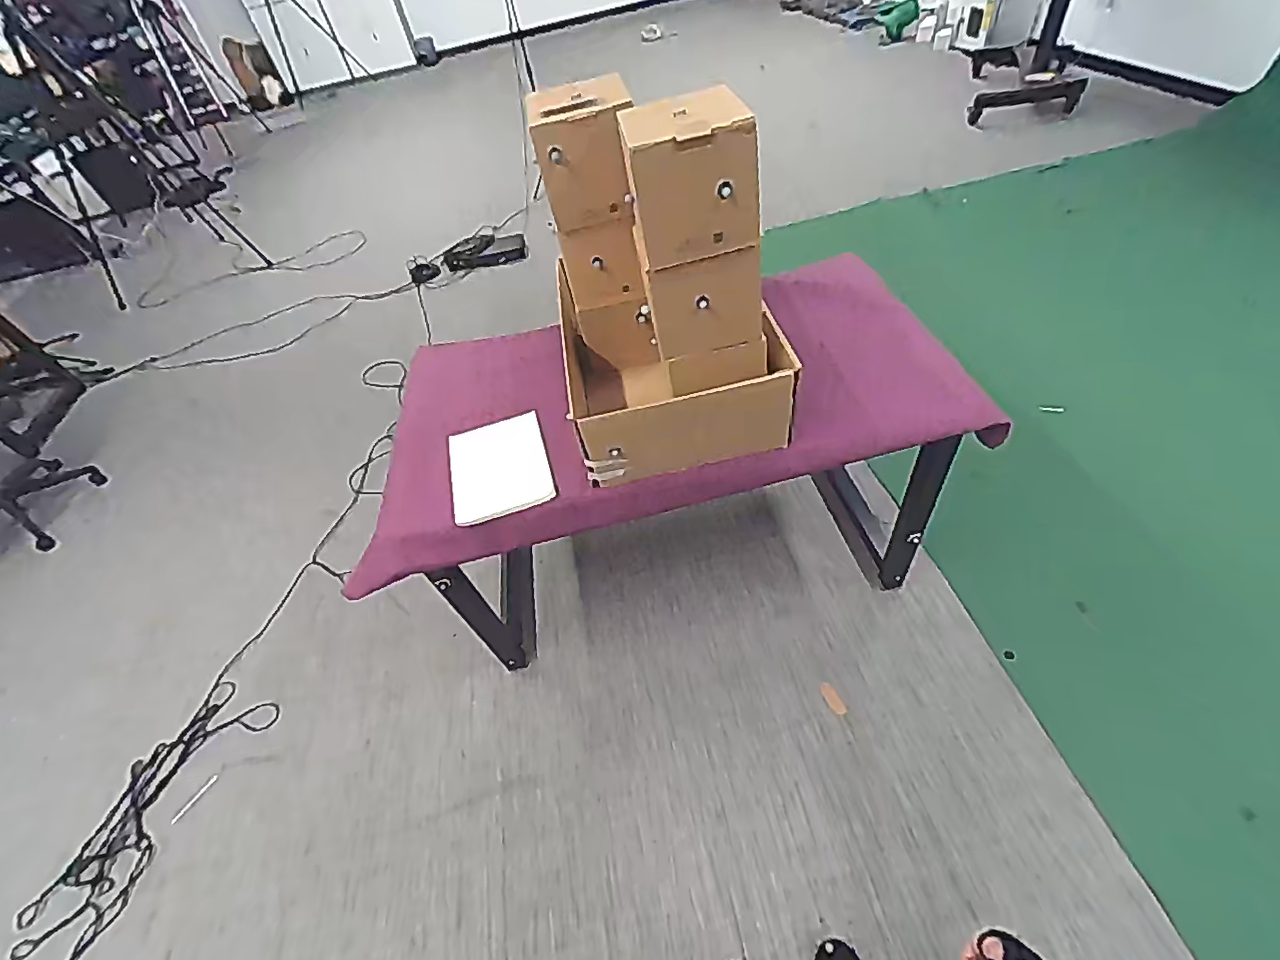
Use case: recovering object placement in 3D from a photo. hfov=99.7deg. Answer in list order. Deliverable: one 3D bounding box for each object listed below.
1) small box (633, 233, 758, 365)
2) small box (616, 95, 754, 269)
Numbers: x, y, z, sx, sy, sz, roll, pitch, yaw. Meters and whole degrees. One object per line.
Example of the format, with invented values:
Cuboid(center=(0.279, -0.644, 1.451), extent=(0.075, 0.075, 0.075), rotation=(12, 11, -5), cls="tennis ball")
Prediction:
Cuboid(center=(0.095, -0.322, 0.916), extent=(0.179, 0.176, 0.168), rotation=(-13, 46, 4), cls="small box")
Cuboid(center=(0.068, -0.430, 0.796), extent=(0.168, 0.176, 0.179), rotation=(-12, 46, 3), cls="small box")
